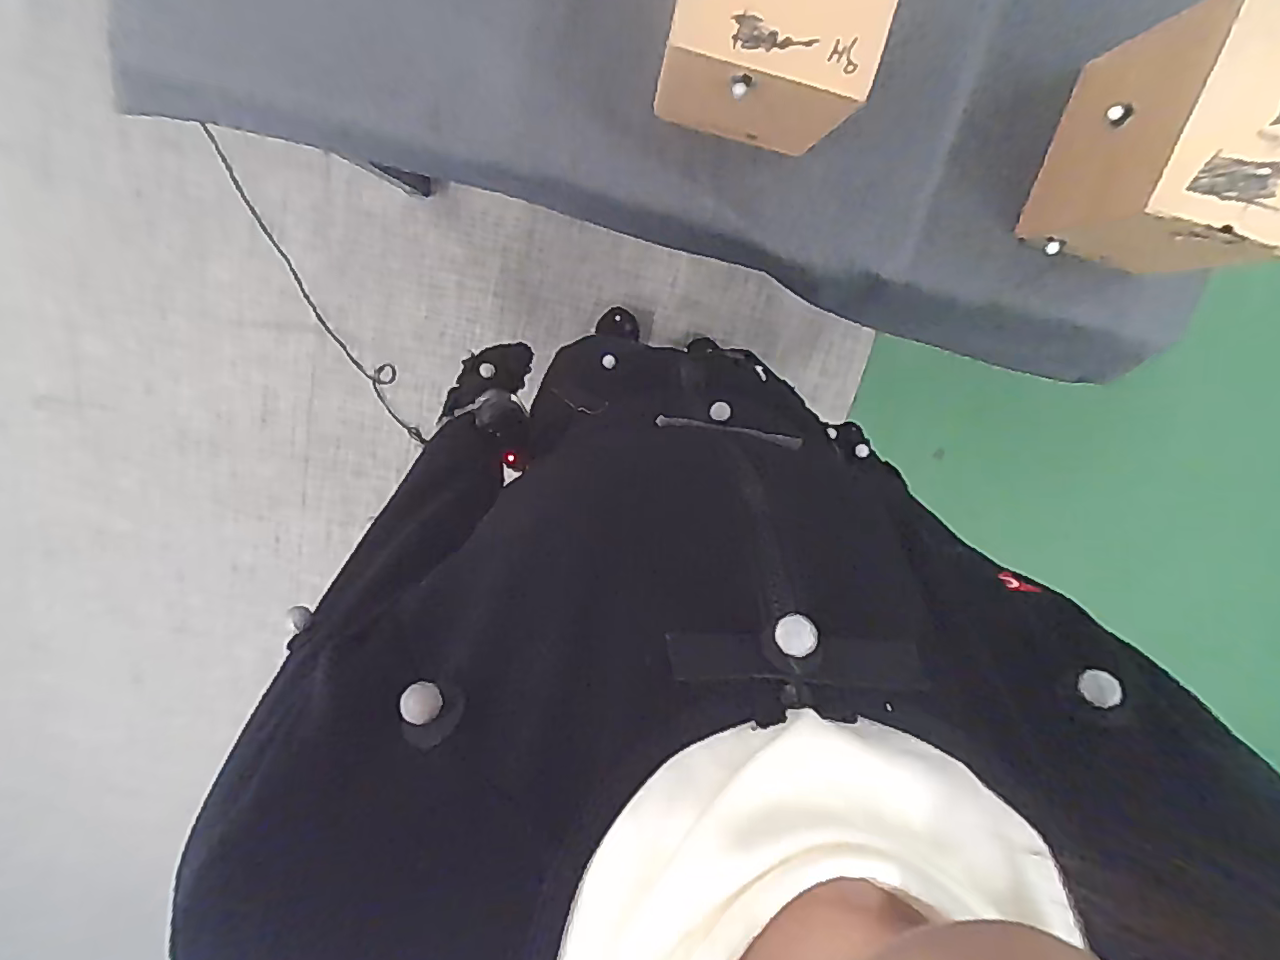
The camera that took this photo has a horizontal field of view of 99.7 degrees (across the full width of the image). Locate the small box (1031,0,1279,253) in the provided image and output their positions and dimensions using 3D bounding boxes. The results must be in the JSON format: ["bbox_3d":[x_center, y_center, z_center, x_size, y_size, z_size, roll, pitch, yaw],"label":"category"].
[{"bbox_3d":[0.531,-0.333,0.522,0.168,0.176,0.179,13,106,-6],"label":"small box"}]

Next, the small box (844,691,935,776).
[{"bbox_3d":[0.772,0.789,1.693,0.179,0.176,0.168,10,107,-5],"label":"small box"}]

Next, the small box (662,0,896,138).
[{"bbox_3d":[0.119,-0.436,0.471,0.168,0.176,0.179,12,107,-6],"label":"small box"}]
